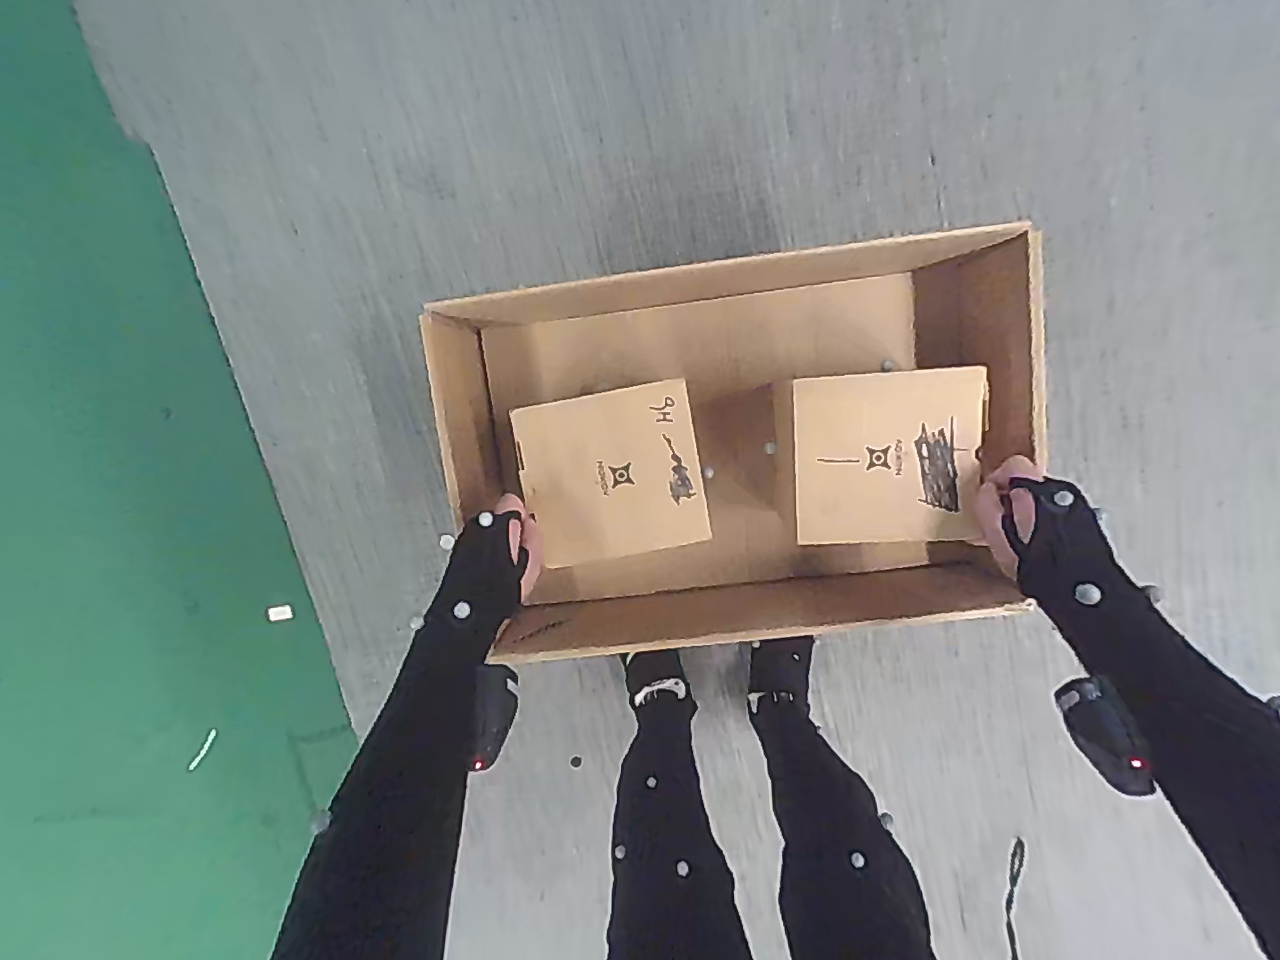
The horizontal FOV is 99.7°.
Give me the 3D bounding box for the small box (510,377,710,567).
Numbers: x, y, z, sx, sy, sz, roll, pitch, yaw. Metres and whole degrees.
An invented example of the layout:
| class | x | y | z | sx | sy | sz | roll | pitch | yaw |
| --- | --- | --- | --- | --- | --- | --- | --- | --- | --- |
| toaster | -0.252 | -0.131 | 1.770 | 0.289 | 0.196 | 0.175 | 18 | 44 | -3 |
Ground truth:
| class | x | y | z | sx | sy | sz | roll | pitch | yaw |
| --- | --- | --- | --- | --- | --- | --- | --- | --- | --- |
| small box | -0.027 | -0.015 | 0.602 | 0.179 | 0.176 | 0.168 | -9 | 97 | 1 |
